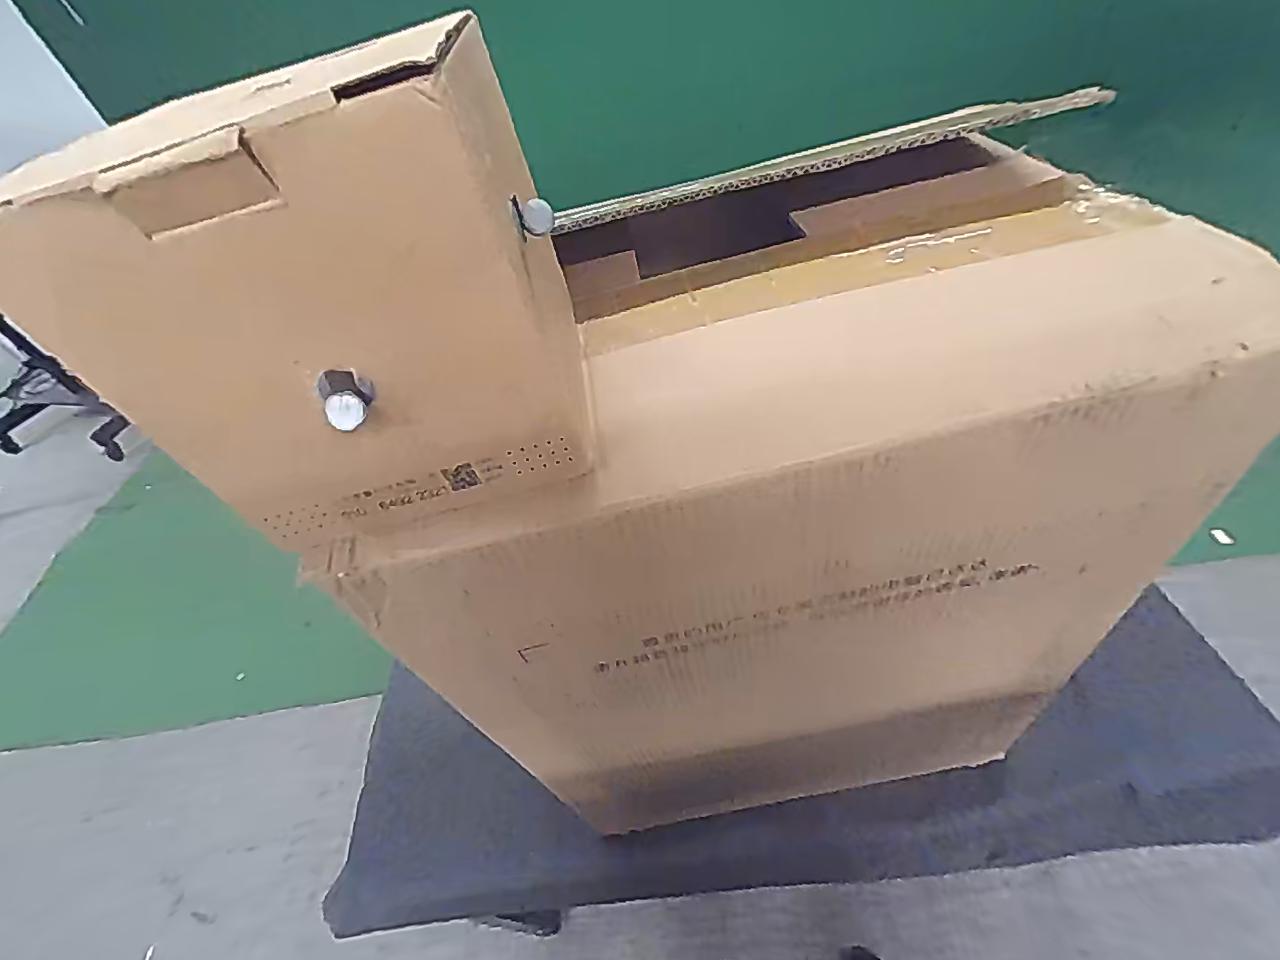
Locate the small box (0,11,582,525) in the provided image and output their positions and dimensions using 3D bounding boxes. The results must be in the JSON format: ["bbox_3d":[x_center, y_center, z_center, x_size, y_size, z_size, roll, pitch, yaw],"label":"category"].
[{"bbox_3d":[-0.133,-0.096,0.273,0.168,0.176,0.179,-15,46,2],"label":"small box"}]
